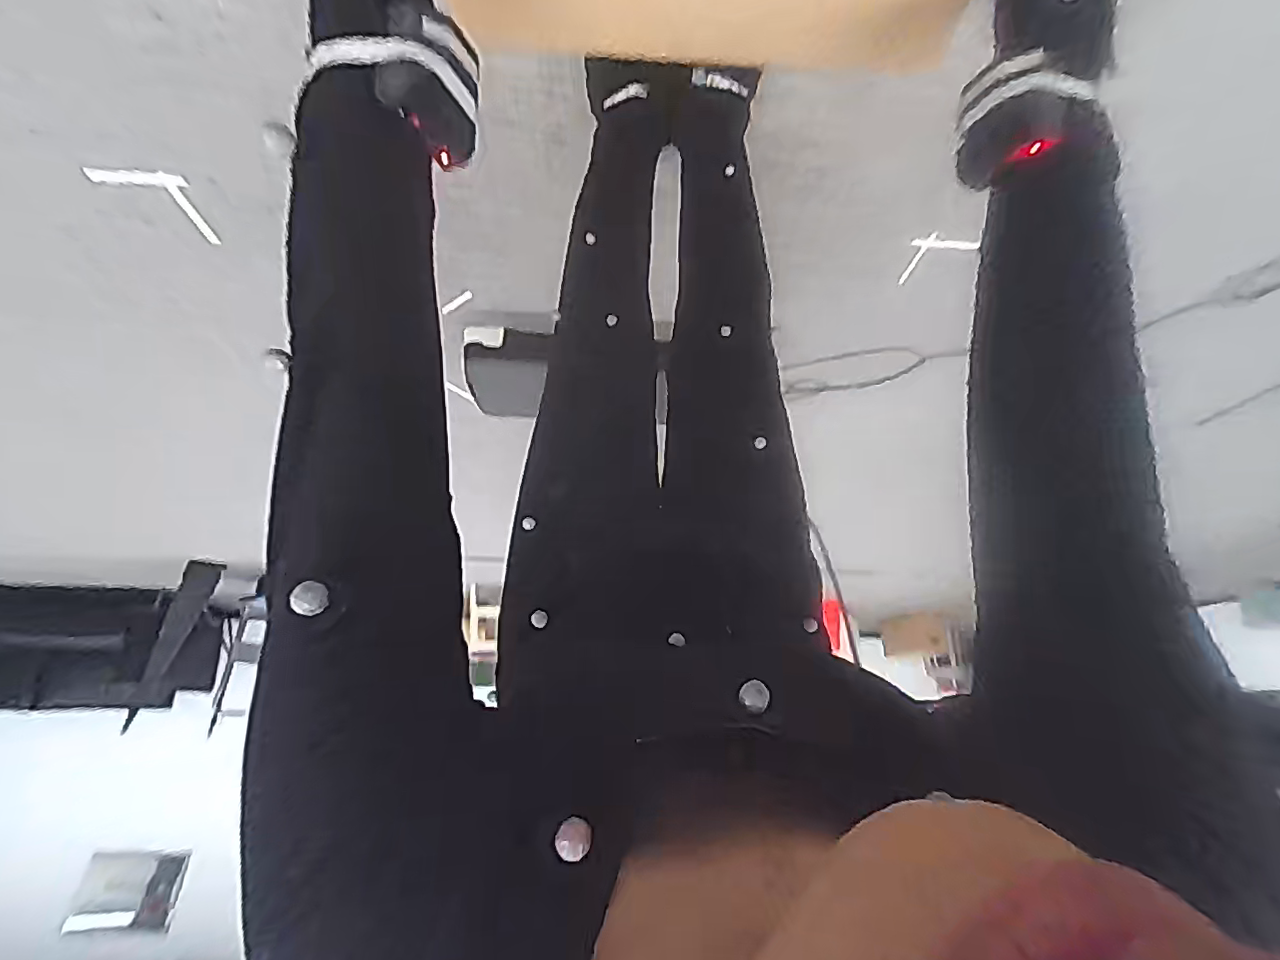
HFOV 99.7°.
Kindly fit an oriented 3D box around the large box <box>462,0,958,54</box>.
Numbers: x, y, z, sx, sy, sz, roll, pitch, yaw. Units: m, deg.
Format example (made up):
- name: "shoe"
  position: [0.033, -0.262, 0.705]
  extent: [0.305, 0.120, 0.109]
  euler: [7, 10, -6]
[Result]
- name: "large box"
  position: [0.057, -0.570, 0.396]
  extent: [0.408, 0.320, 0.320]
  euler: [1, 151, -3]
